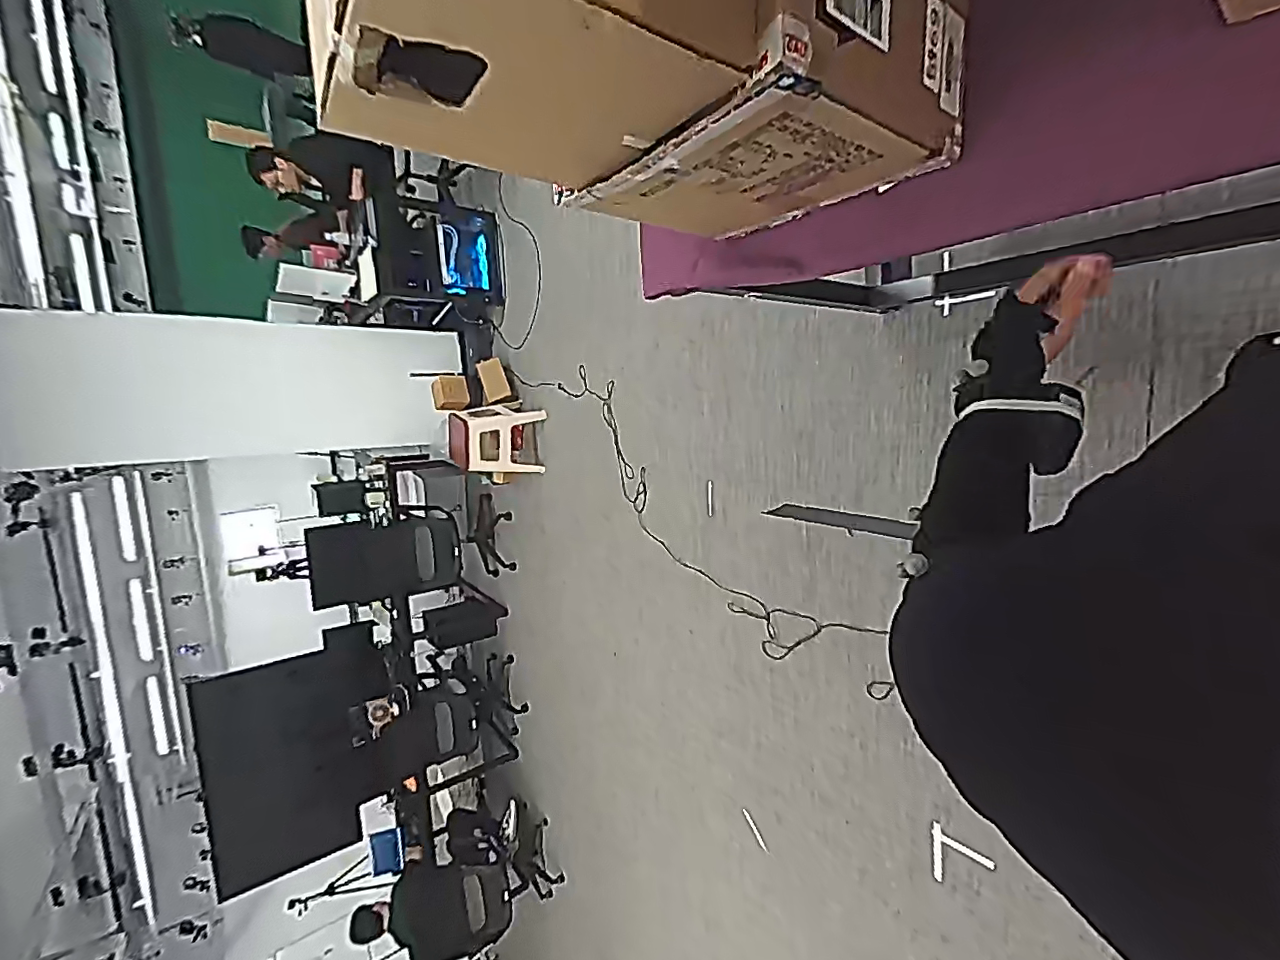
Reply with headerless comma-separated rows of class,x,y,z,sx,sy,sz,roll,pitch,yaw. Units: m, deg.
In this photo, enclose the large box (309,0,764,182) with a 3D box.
large box,-0.112,-0.551,0.473,0.320,0.320,0.408,8,104,55
